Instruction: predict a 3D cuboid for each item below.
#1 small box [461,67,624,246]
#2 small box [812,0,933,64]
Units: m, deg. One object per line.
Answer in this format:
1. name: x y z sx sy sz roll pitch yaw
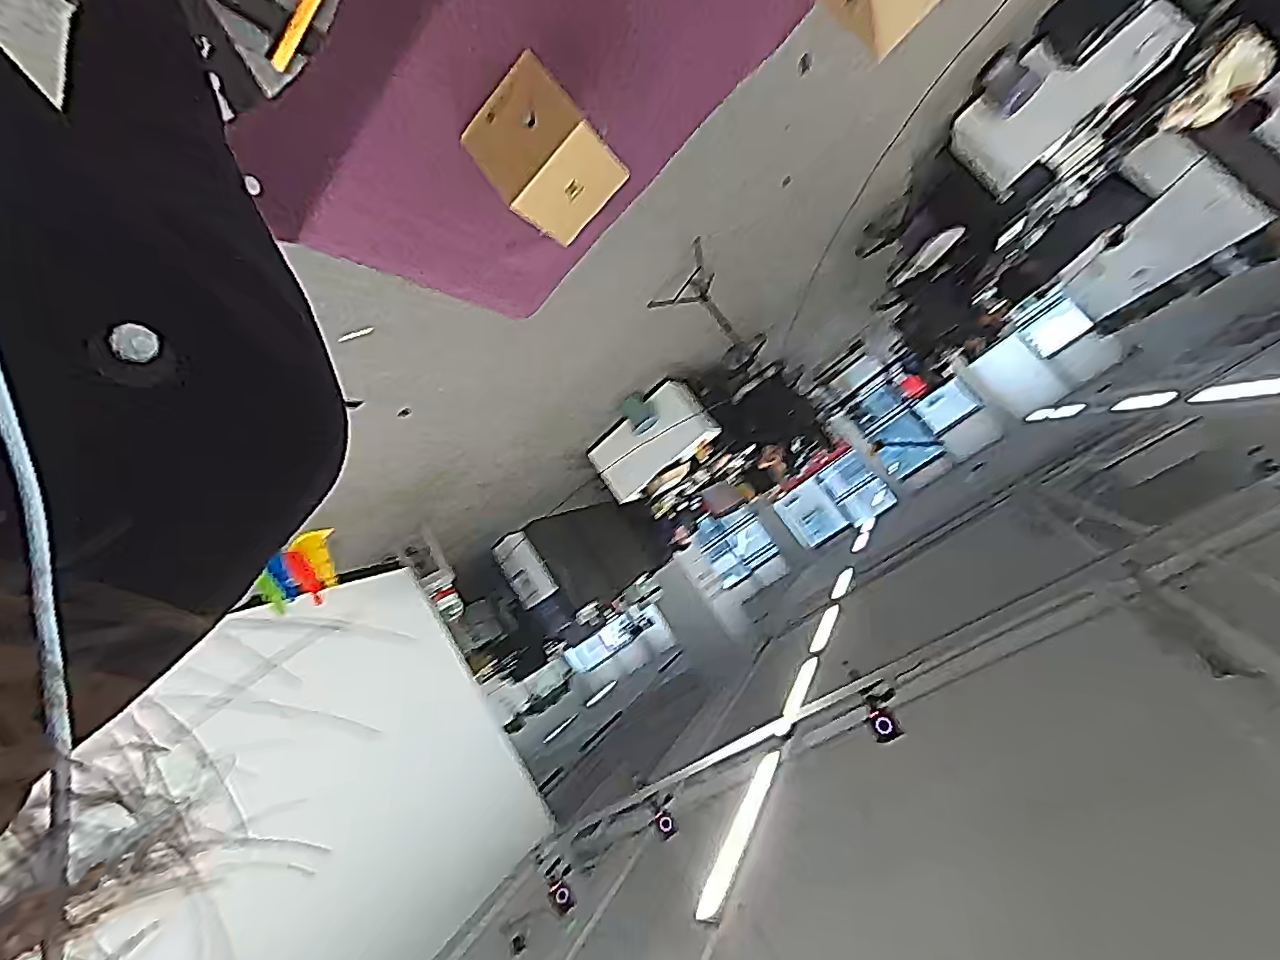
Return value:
1. small box: -0.164 -0.543 0.915 0.168 0.176 0.179 -40 168 20
2. small box: 0.316 -0.724 0.715 0.168 0.176 0.179 -40 168 24
